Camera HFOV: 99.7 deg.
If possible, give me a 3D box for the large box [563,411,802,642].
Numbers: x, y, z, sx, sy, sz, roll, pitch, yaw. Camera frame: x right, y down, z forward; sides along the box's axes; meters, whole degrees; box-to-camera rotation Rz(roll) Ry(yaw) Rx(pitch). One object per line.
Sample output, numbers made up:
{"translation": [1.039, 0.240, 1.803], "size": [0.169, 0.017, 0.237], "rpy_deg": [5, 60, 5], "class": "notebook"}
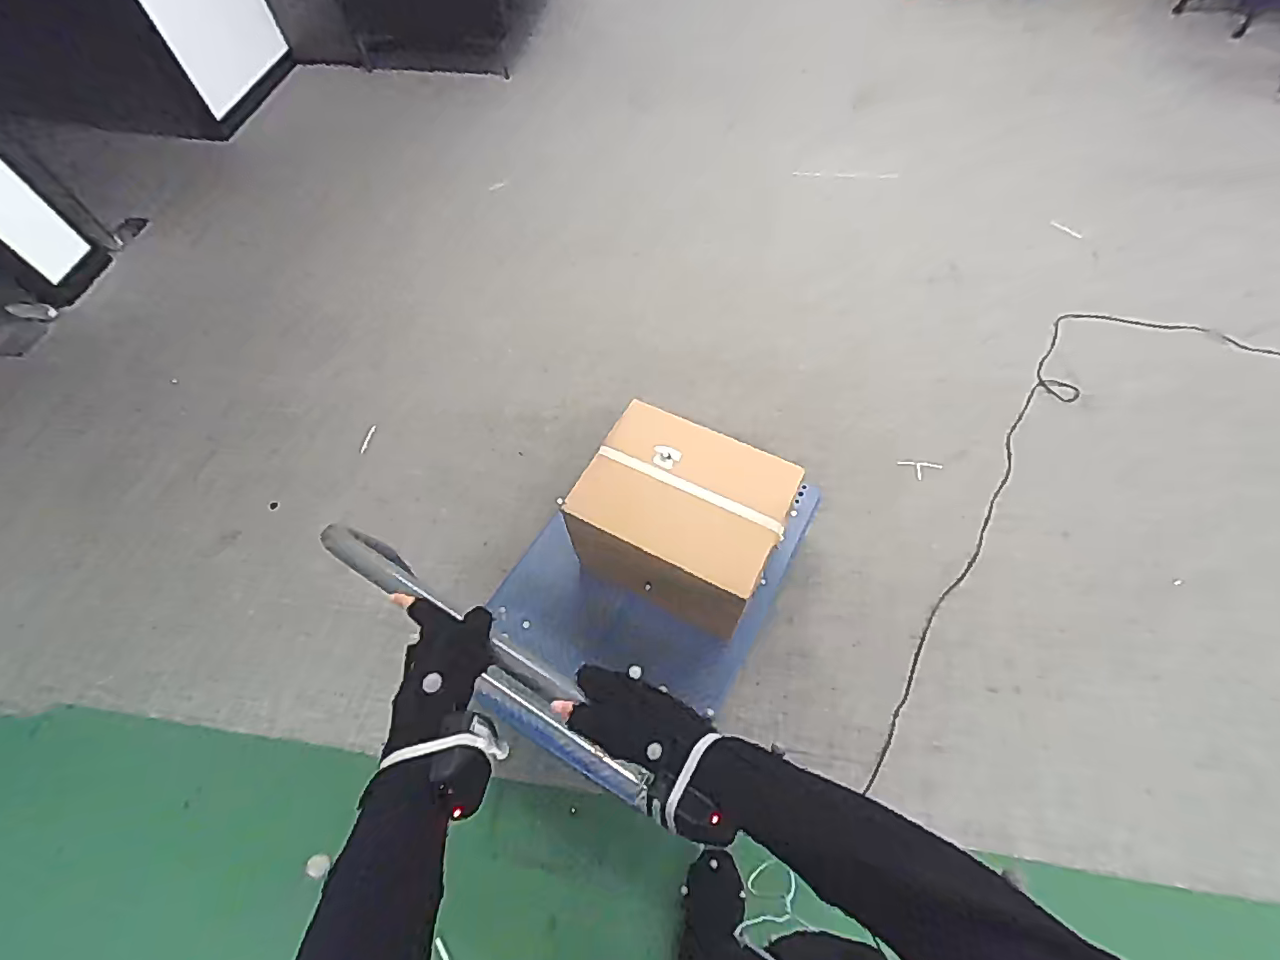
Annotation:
{"translation": [0.100, 0.109, 1.218], "size": [0.408, 0.320, 0.320], "rpy_deg": [24, 62, 17], "class": "large box"}
